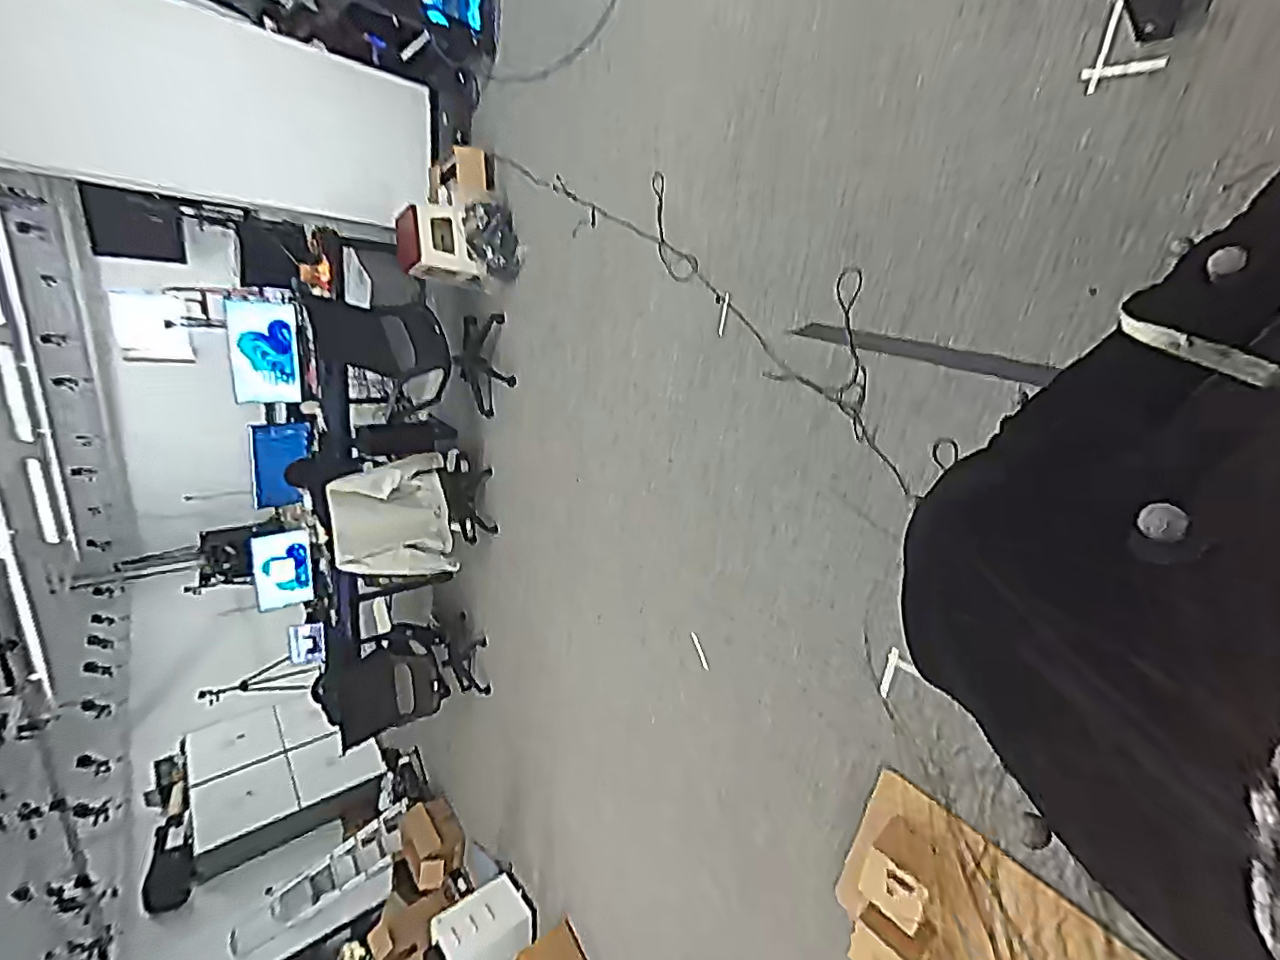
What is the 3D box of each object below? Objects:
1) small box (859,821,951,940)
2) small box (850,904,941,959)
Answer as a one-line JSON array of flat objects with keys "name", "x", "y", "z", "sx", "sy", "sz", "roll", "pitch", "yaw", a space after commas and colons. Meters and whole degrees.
[{"name": "small box", "x": 0.758, "y": 1.126, "z": 1.537, "sx": 0.168, "sy": 0.176, "sz": 0.179, "roll": 24, "pitch": 115, "yaw": 45}, {"name": "small box", "x": 0.753, "y": 1.379, "z": 1.596, "sx": 0.179, "sy": 0.176, "sz": 0.168, "roll": 21, "pitch": 114, "yaw": 45}]
